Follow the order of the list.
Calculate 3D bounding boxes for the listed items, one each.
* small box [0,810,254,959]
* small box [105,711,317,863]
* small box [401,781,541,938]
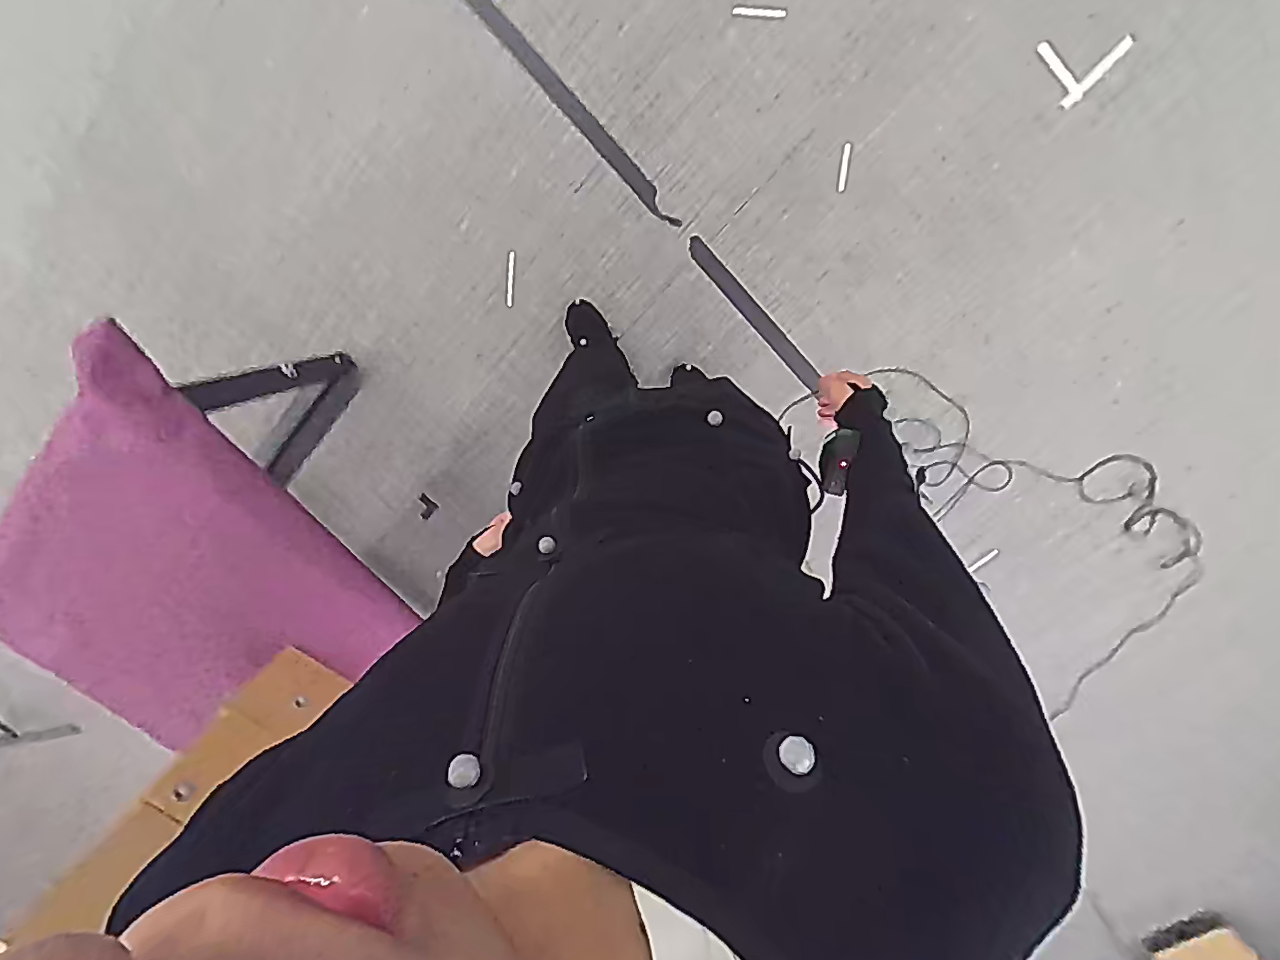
[{"bbox_3d":[-0.657,0.563,0.689,0.179,0.176,0.168,41,108,-10],"label":"small box"},{"bbox_3d":[-0.655,0.503,0.842,0.179,0.176,0.168,41,107,-10],"label":"small box"},{"bbox_3d":[-0.323,0.749,1.078,0.168,0.176,0.179,-40,102,17],"label":"small box"}]
